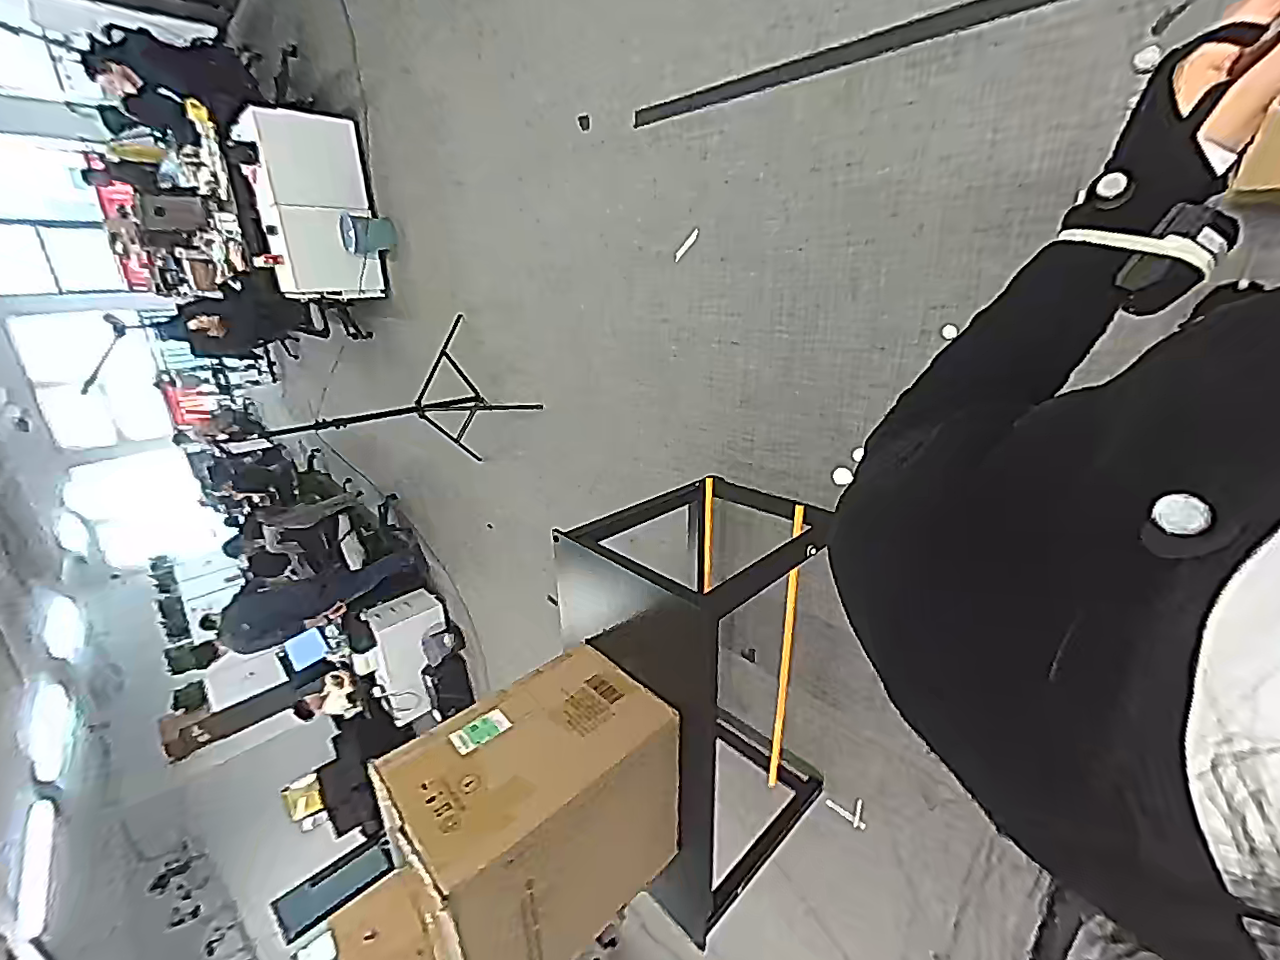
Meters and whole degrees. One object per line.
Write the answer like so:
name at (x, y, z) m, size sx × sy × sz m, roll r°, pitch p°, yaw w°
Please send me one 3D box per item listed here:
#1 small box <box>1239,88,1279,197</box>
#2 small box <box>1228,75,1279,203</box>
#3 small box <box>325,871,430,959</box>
small box at (0.947, -0.481, 0.717) m, size 0.168 × 0.176 × 0.179 m, roll 24°, pitch 123°, yaw 41°
small box at (1.061, -0.523, 0.828) m, size 0.179 × 0.176 × 0.168 m, roll 24°, pitch 123°, yaw 40°
small box at (-0.604, 1.078, 1.261) m, size 0.179 × 0.176 × 0.168 m, roll 21°, pitch 119°, yaw 45°
